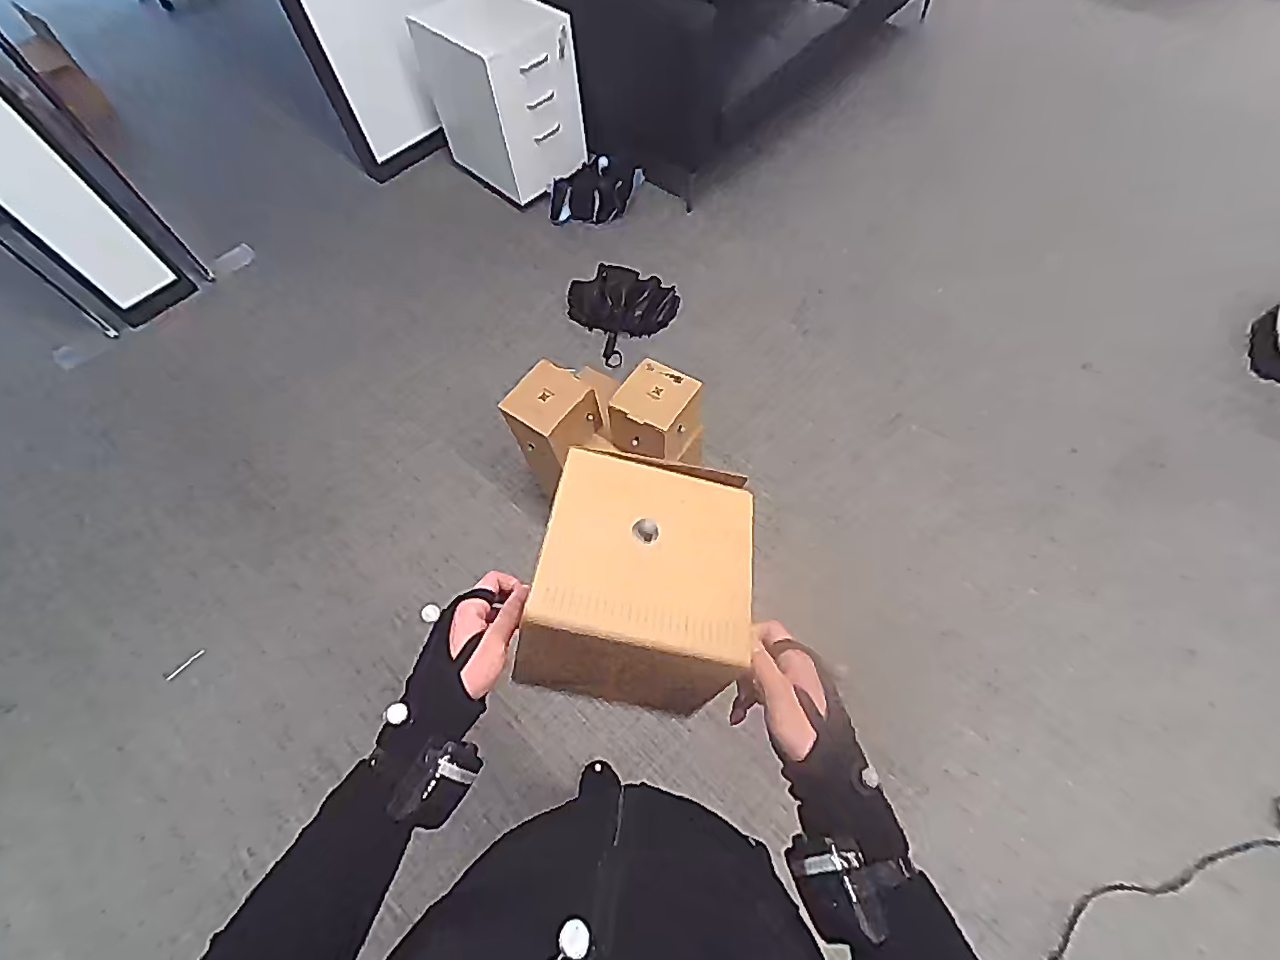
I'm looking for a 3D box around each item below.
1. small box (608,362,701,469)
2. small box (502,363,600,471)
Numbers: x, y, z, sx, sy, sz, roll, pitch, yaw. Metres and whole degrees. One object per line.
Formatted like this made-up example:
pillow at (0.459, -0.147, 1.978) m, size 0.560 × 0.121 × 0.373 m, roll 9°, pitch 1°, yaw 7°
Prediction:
small box at (0.042, -0.157, 1.363) m, size 0.168 × 0.176 × 0.179 m, roll 28°, pitch 66°, yaw 18°
small box at (-0.217, -0.157, 1.384) m, size 0.168 × 0.176 × 0.179 m, roll 31°, pitch 71°, yaw 20°
